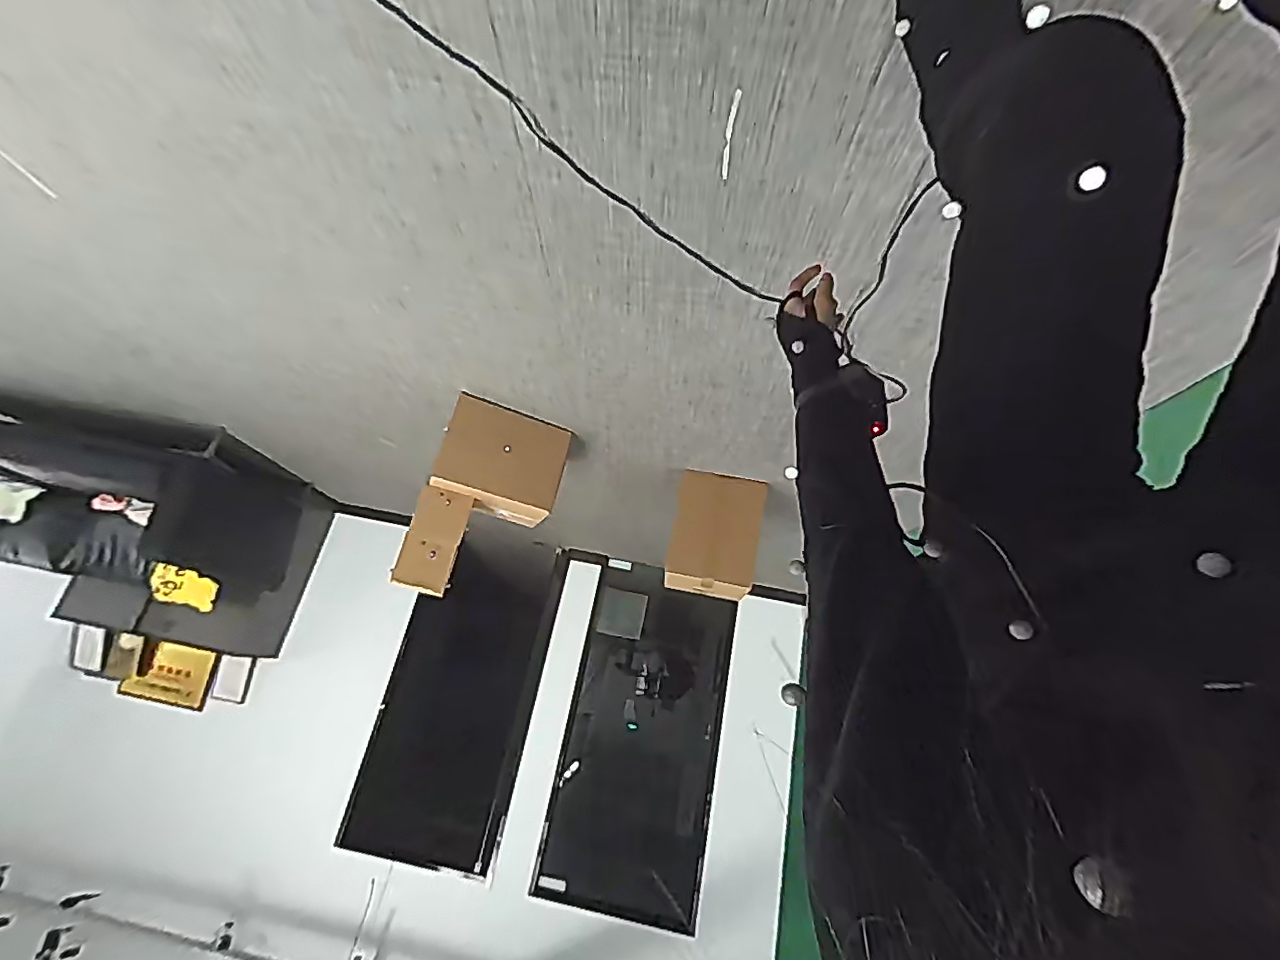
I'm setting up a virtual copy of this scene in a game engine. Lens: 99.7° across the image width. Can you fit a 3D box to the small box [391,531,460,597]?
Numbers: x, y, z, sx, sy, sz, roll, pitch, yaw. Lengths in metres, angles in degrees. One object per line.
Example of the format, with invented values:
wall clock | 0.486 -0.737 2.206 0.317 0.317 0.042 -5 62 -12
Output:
small box | -0.707 0.280 1.794 0.168 0.176 0.179 18 159 -14
